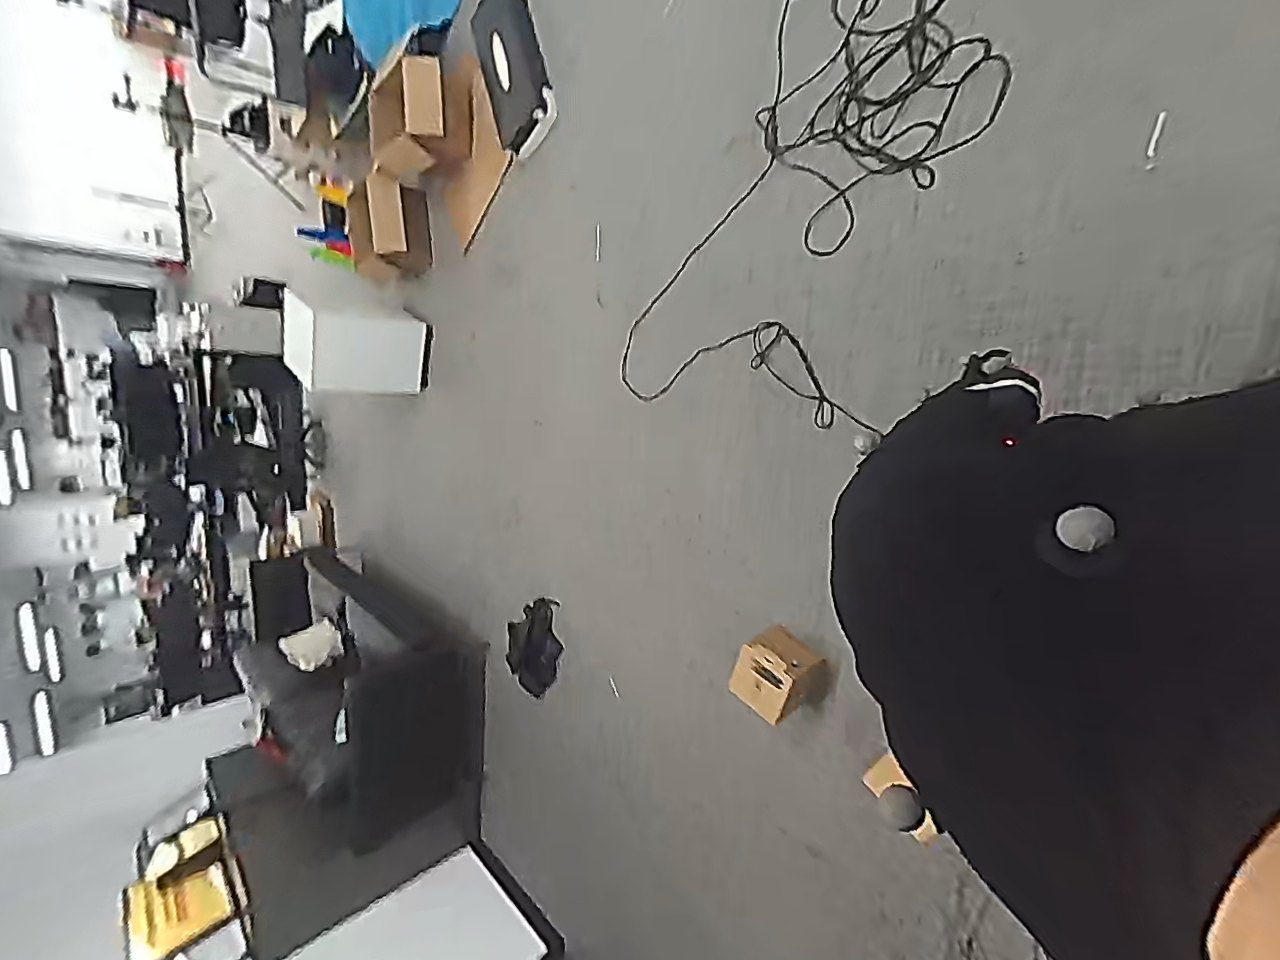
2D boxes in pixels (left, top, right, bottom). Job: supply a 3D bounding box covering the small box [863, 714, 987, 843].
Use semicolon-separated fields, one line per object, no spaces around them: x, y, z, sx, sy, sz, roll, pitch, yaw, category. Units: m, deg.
0.668;0.688;1.262;0.168;0.176;0.179;44;123;33;small box
